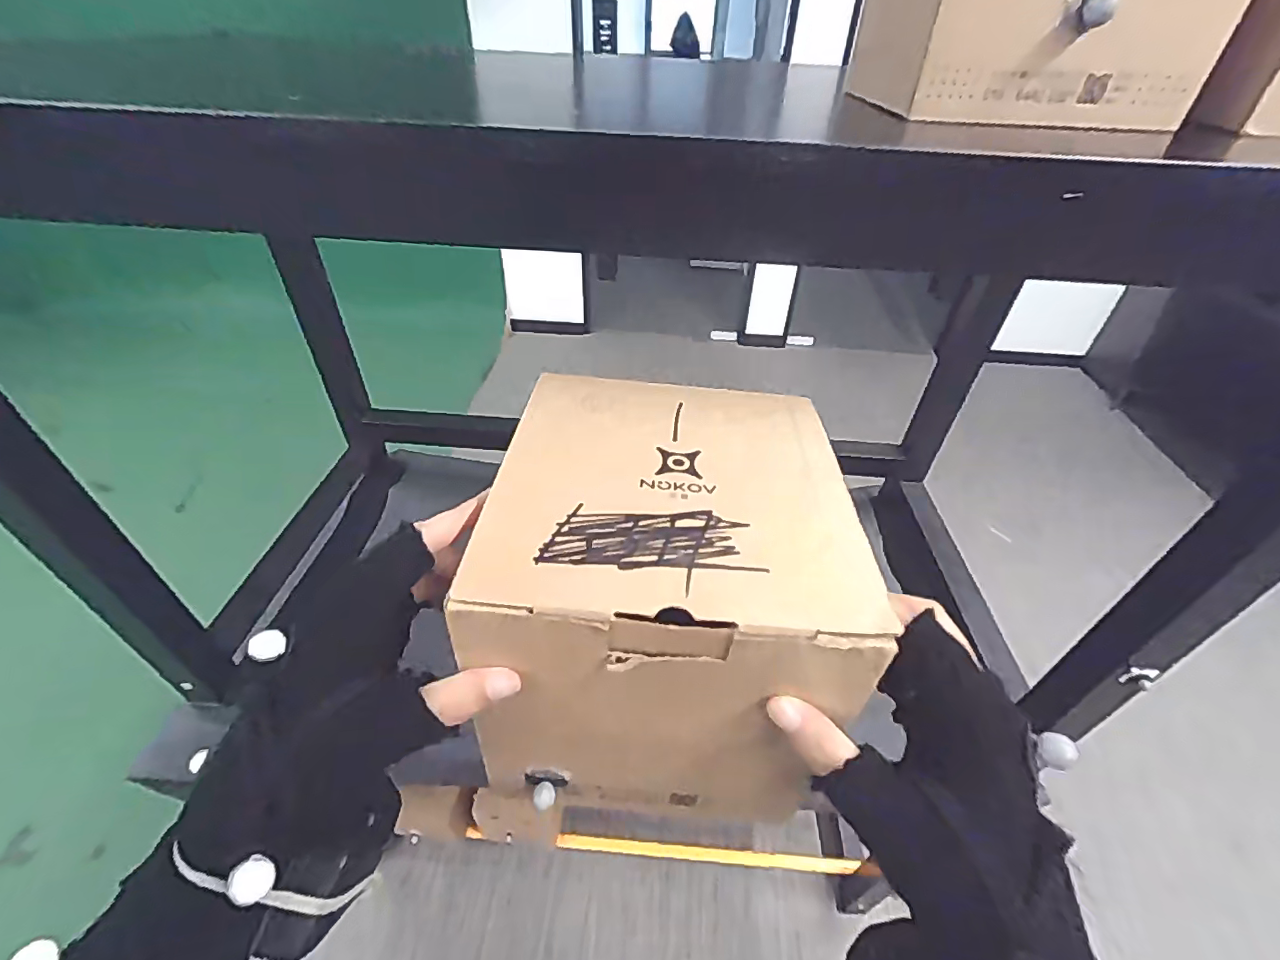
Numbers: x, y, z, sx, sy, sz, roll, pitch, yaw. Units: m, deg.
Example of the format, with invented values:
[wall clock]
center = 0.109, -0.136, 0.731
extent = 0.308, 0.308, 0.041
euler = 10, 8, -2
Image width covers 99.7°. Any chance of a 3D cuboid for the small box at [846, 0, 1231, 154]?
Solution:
[small box]
center = 0.254, -0.333, 0.360
extent = 0.168, 0.176, 0.179
euler = 4, 40, 2
